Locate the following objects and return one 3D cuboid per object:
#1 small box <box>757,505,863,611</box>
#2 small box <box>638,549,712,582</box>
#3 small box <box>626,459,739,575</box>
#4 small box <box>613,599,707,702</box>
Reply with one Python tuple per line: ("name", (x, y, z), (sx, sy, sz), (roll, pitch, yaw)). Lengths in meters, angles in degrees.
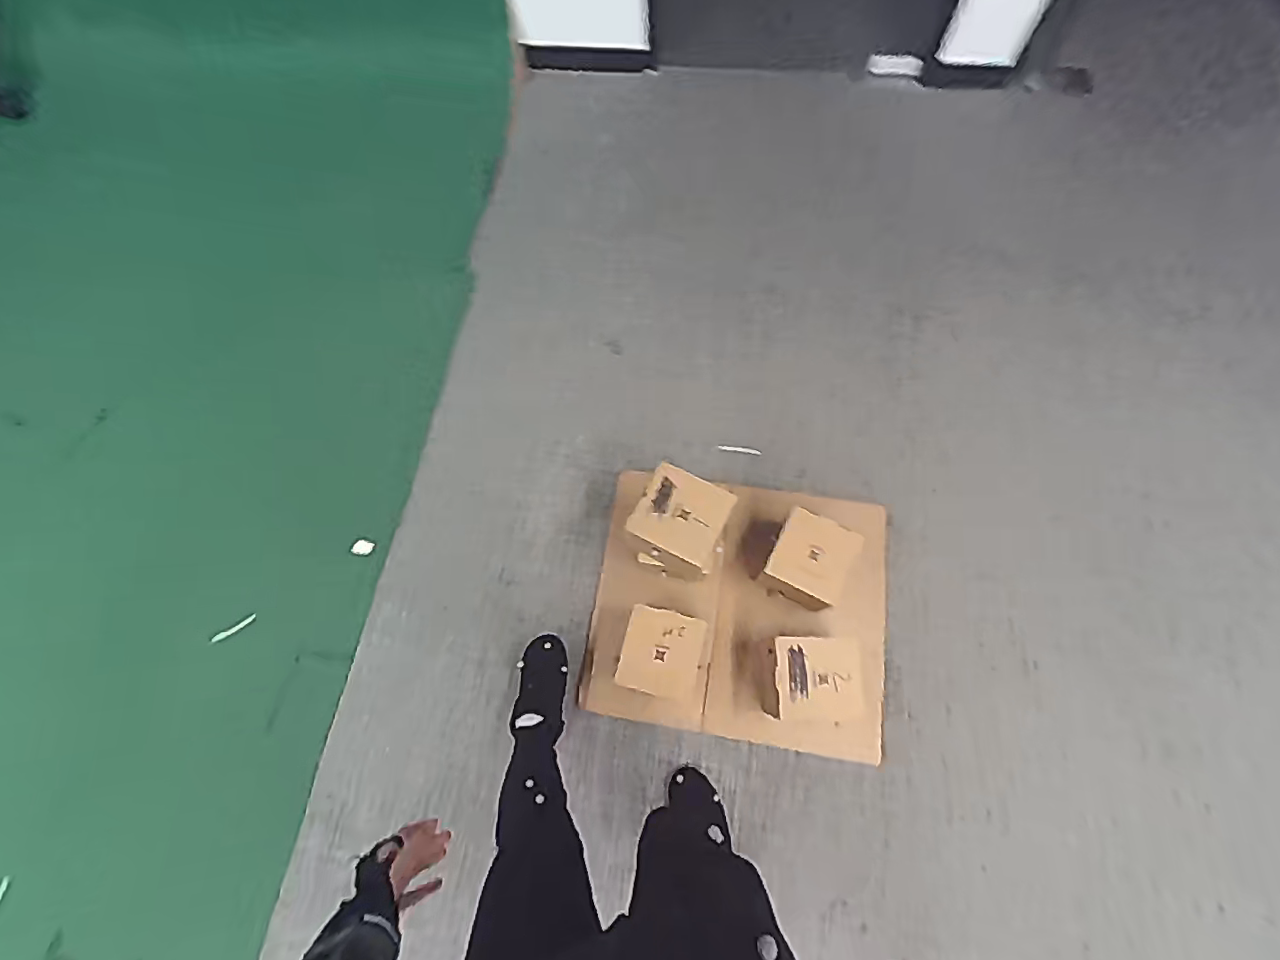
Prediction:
("small box", (0.388, 0.188, 1.265), (0.168, 0.176, 0.179), (27, 75, 12))
("small box", (0.097, 0.138, 1.303), (0.168, 0.176, 0.179), (10, 71, 6))
("small box", (0.087, 0.086, 1.147), (0.179, 0.176, 0.168), (27, 74, 11))
("small box", (0.048, 0.384, 1.217), (0.168, 0.176, 0.179), (14, 72, 7))
